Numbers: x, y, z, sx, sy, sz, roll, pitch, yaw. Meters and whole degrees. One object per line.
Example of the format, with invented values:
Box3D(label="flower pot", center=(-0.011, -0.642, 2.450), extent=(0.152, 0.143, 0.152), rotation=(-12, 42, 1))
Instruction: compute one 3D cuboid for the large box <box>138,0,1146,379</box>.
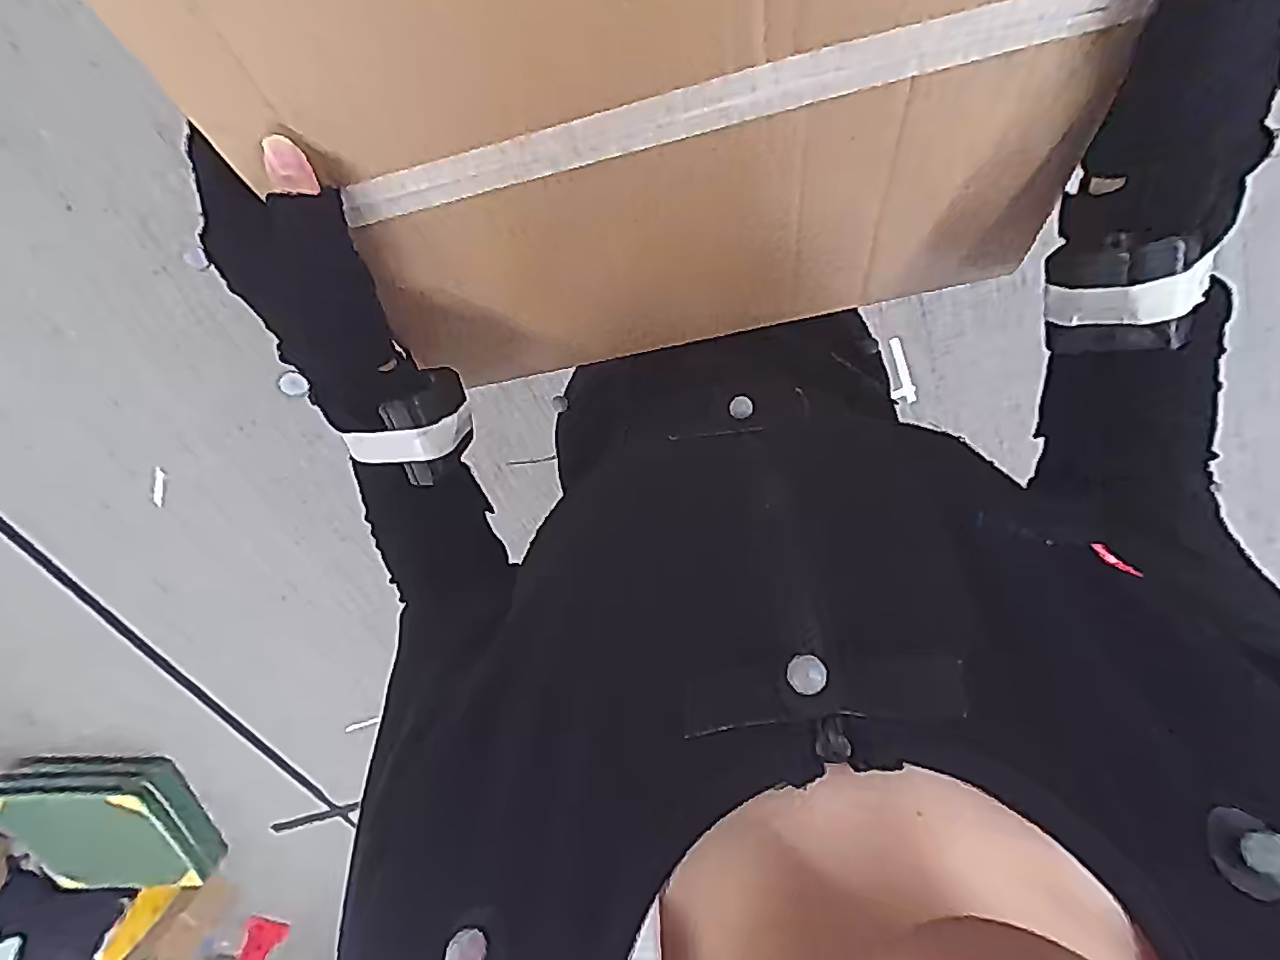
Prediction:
Box3D(label="large box", center=(0.006, -0.307, 0.319), extent=(0.408, 0.320, 0.320), rotation=(-10, 154, 7))
